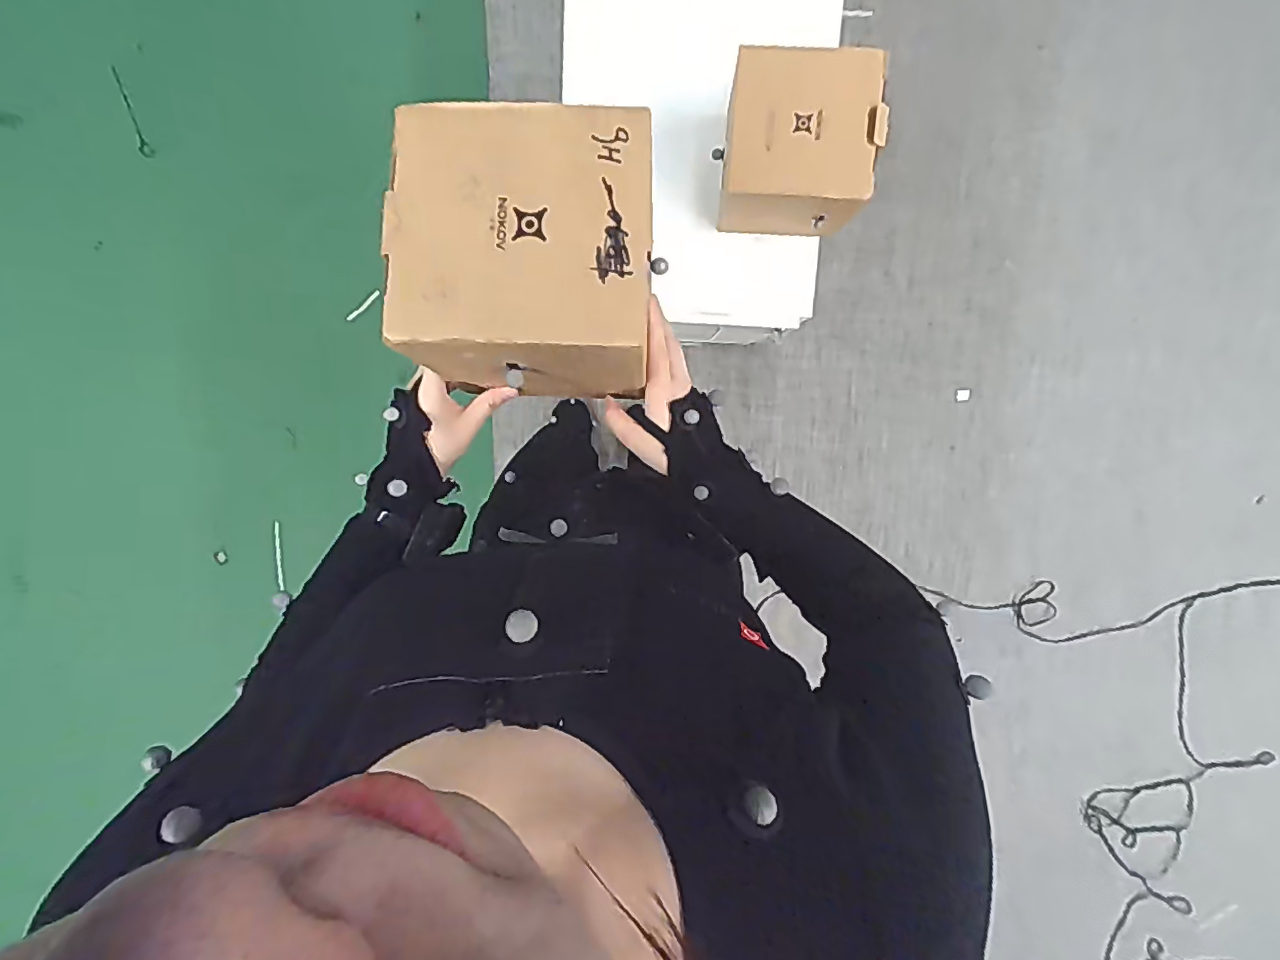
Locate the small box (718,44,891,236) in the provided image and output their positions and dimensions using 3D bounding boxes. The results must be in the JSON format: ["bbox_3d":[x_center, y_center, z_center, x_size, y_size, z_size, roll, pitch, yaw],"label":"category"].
[{"bbox_3d":[0.203,-0.435,0.718,0.179,0.176,0.168,4,100,3],"label":"small box"}]

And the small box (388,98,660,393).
[{"bbox_3d":[-0.075,-0.169,0.439,0.179,0.176,0.168,2,88,2],"label":"small box"}]
